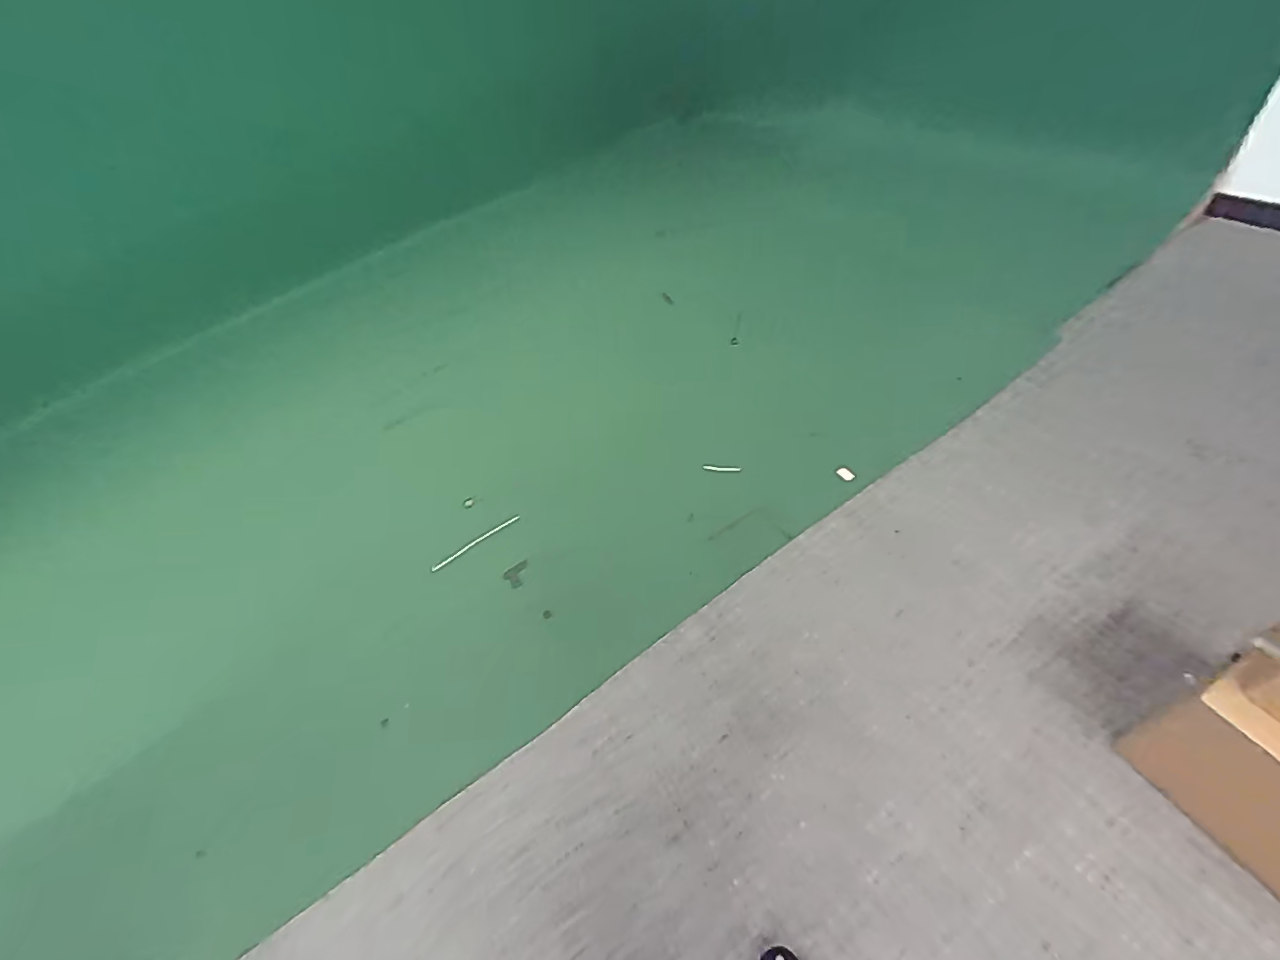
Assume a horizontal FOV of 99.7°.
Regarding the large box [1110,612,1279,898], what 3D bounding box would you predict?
[{"bbox_3d":[1.126,0.482,0.873,0.320,0.320,0.408,-30,51,-10],"label":"large box"}]
